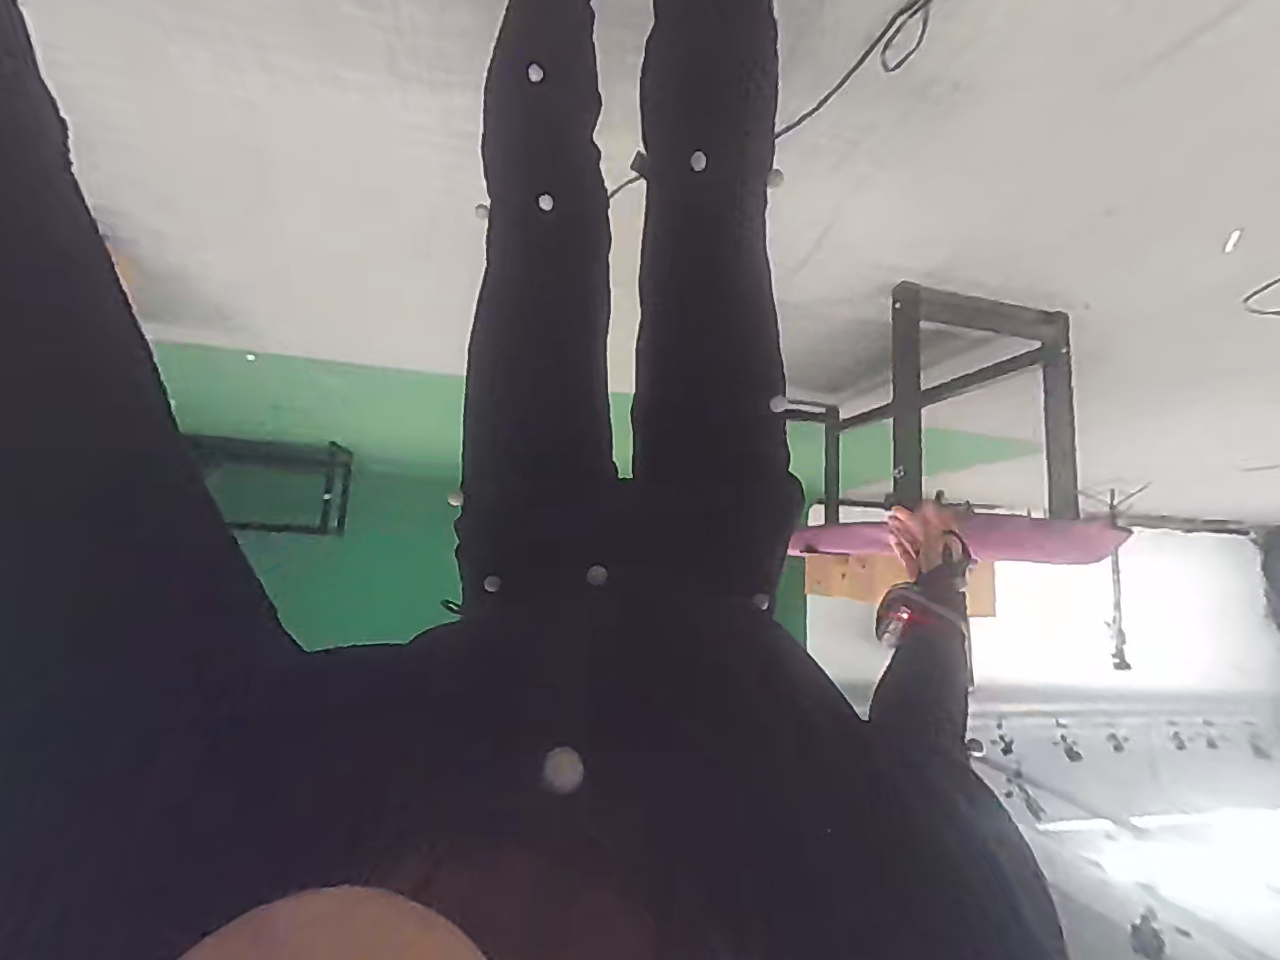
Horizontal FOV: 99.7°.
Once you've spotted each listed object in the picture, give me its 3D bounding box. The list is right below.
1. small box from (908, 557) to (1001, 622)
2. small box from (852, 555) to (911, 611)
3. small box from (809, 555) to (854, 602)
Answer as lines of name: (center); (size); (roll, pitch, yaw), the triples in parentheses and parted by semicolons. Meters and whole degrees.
small box: (0.902, 0.311, 1.561); (0.179, 0.176, 0.168); (6, 172, -14)
small box: (0.838, 0.345, 1.820); (0.179, 0.176, 0.168); (5, 171, -9)
small box: (0.765, 0.375, 2.067); (0.168, 0.176, 0.179); (6, 171, -17)
